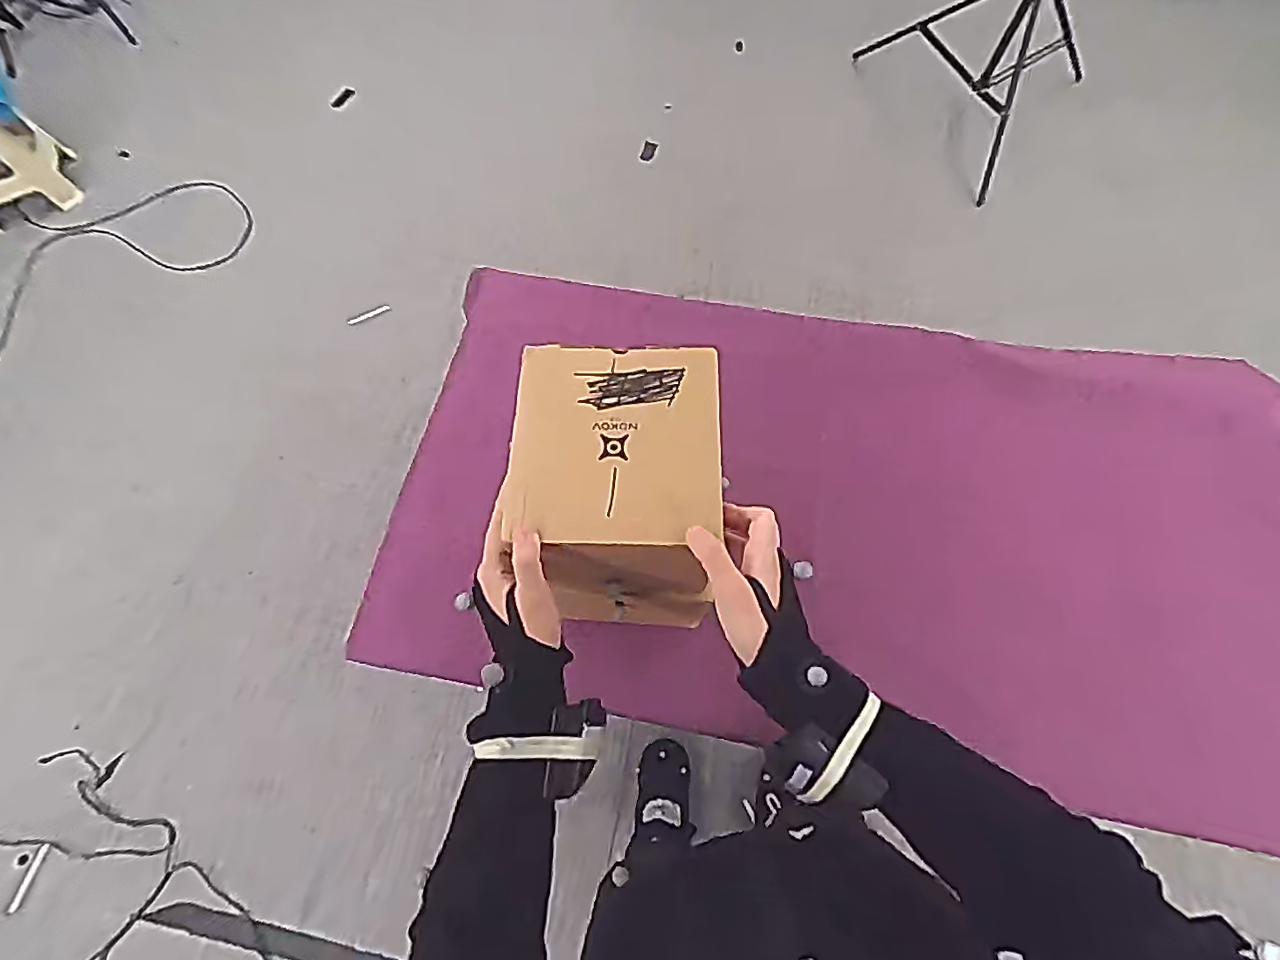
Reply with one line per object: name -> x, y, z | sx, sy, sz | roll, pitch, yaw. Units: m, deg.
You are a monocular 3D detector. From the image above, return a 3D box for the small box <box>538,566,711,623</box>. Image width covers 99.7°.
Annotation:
small box -> -0.010, 0.073, 0.647 | 0.179, 0.176, 0.168 | 4, 67, 3

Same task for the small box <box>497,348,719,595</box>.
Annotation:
small box -> -0.020, 0.000, 0.499 | 0.168, 0.176, 0.179 | 1, 68, 2
